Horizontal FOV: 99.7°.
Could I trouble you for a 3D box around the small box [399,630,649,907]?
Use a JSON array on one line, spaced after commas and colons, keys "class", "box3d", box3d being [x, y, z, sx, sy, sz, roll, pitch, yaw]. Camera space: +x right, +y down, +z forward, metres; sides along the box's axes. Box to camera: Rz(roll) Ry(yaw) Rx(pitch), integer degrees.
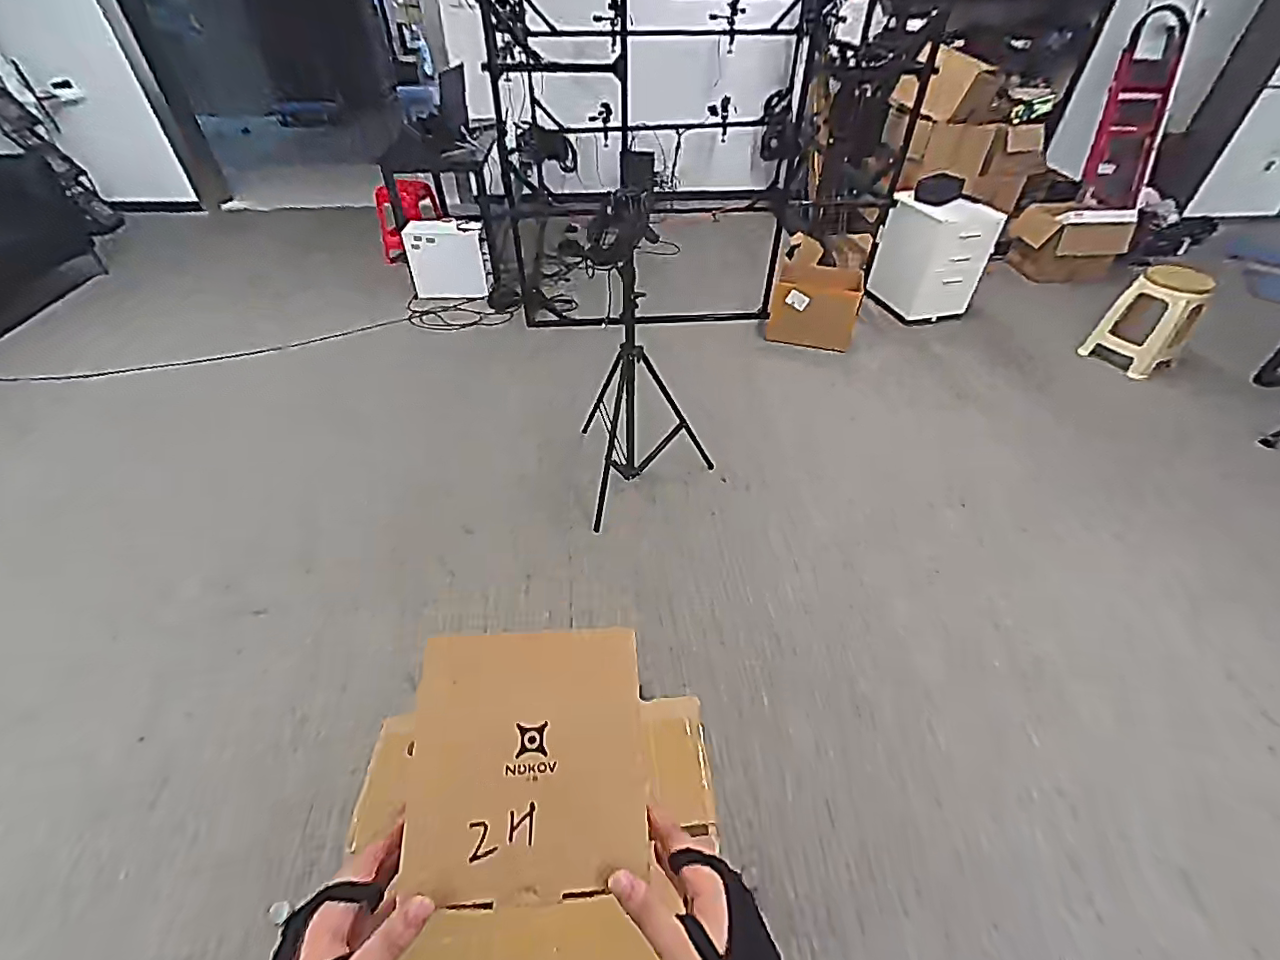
[{"class": "small box", "box3d": [-0.088, 0.240, 0.466, 0.168, 0.176, 0.179, -1, 60, -7]}]
